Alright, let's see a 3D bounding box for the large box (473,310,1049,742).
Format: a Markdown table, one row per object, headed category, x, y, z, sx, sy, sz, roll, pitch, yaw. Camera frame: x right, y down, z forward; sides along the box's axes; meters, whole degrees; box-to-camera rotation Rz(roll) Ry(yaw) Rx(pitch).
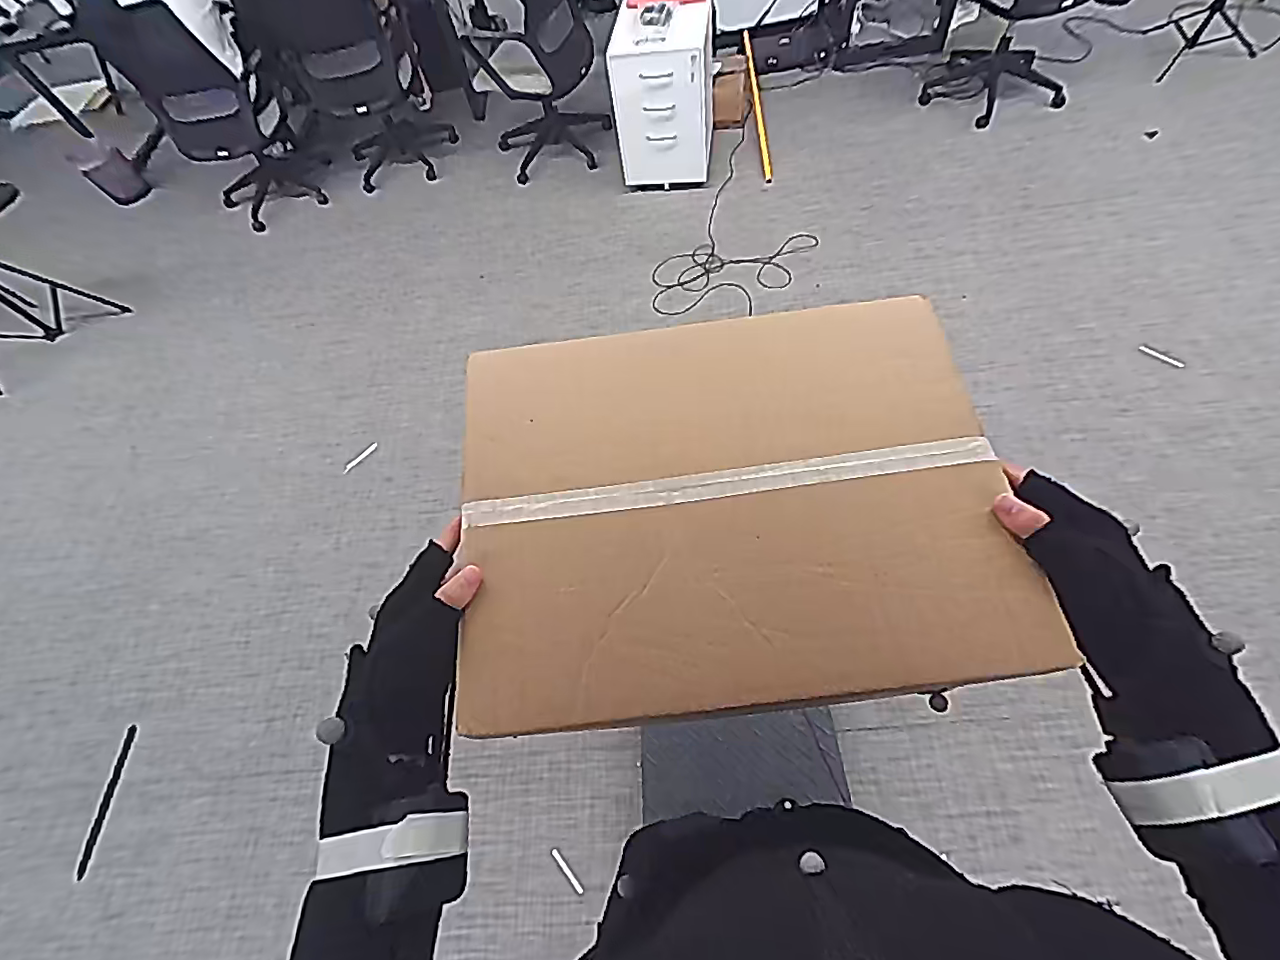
| category | x | y | z | sx | sy | sz | roll | pitch | yaw |
| --- | --- | --- | --- | --- | --- | --- | --- | --- | --- |
| large box | 0.077 | 0.072 | 0.562 | 0.408 | 0.320 | 0.320 | -8 | 65 | 2 |
